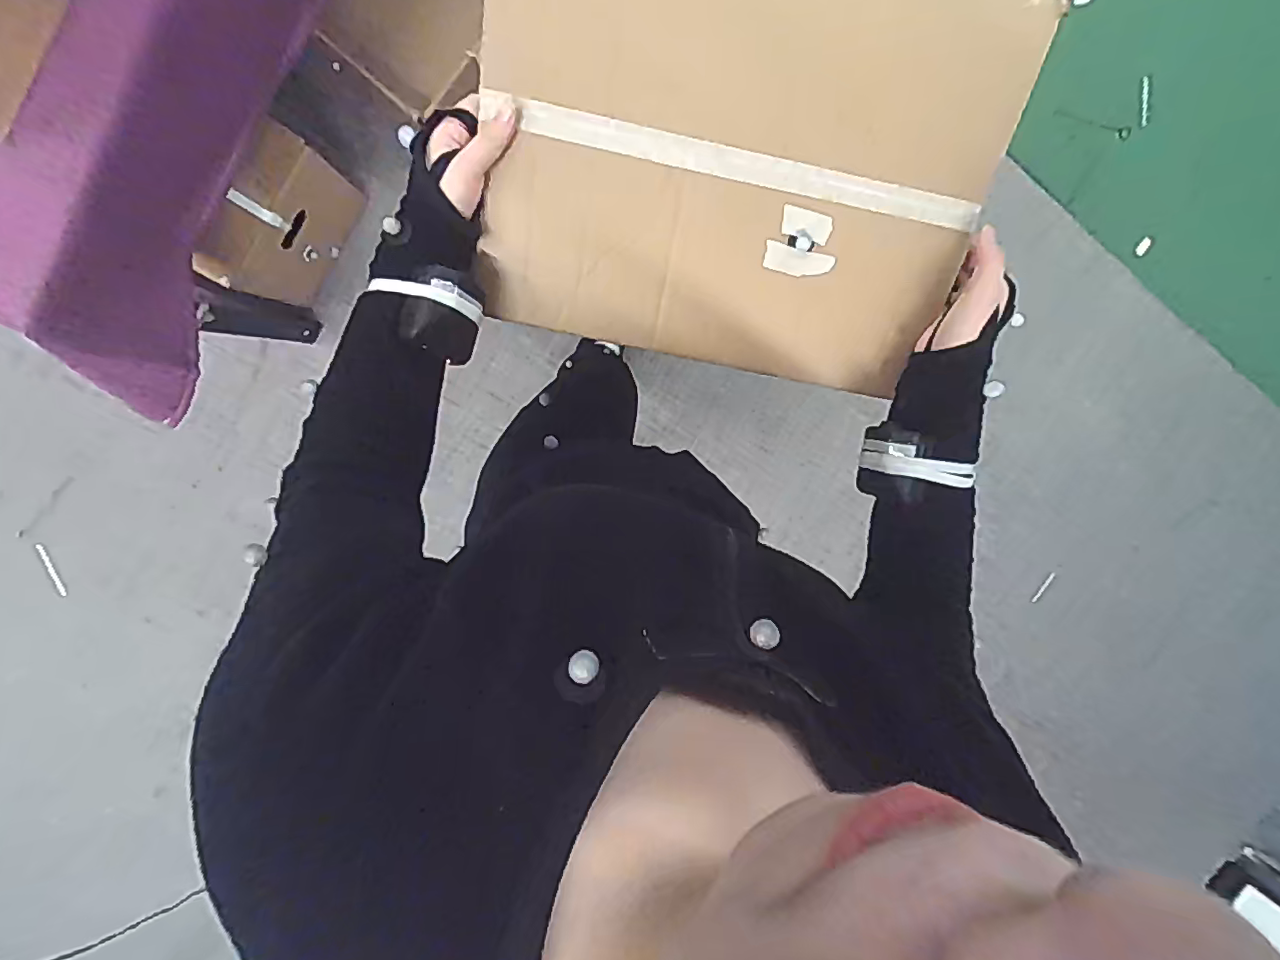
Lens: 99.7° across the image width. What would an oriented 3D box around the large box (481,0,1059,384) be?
[{"bbox_3d":[0.078,-0.319,0.562,0.408,0.320,0.320,10,115,-5],"label":"large box"}]
